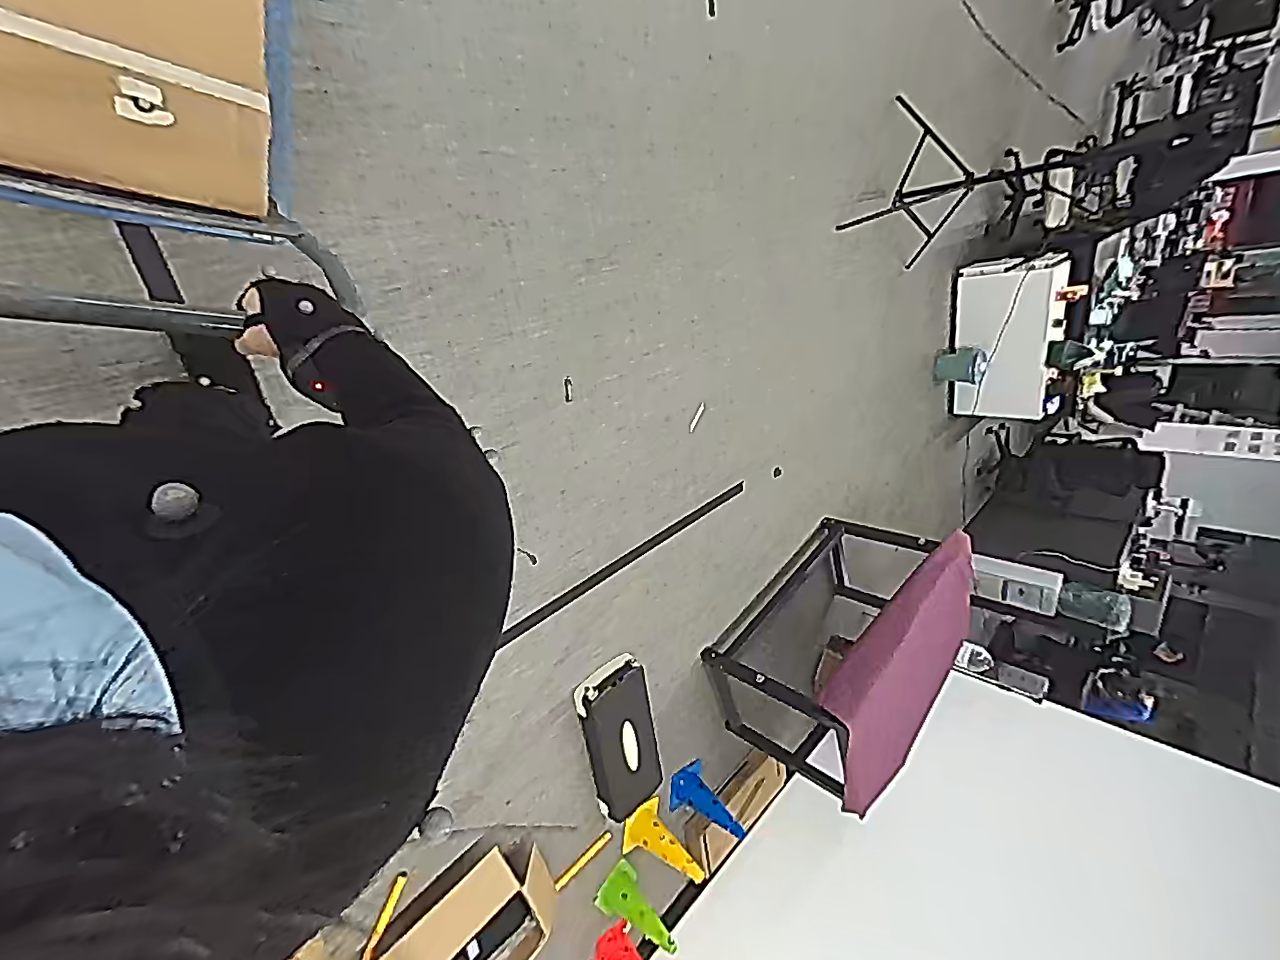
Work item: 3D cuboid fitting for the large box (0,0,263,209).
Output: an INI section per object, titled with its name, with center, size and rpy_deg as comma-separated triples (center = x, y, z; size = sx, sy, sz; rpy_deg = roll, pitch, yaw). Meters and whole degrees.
[large box]
center = -0.799, -0.603, 0.751
size = 0.408, 0.320, 0.320
rpy_deg = -6, 120, -44
